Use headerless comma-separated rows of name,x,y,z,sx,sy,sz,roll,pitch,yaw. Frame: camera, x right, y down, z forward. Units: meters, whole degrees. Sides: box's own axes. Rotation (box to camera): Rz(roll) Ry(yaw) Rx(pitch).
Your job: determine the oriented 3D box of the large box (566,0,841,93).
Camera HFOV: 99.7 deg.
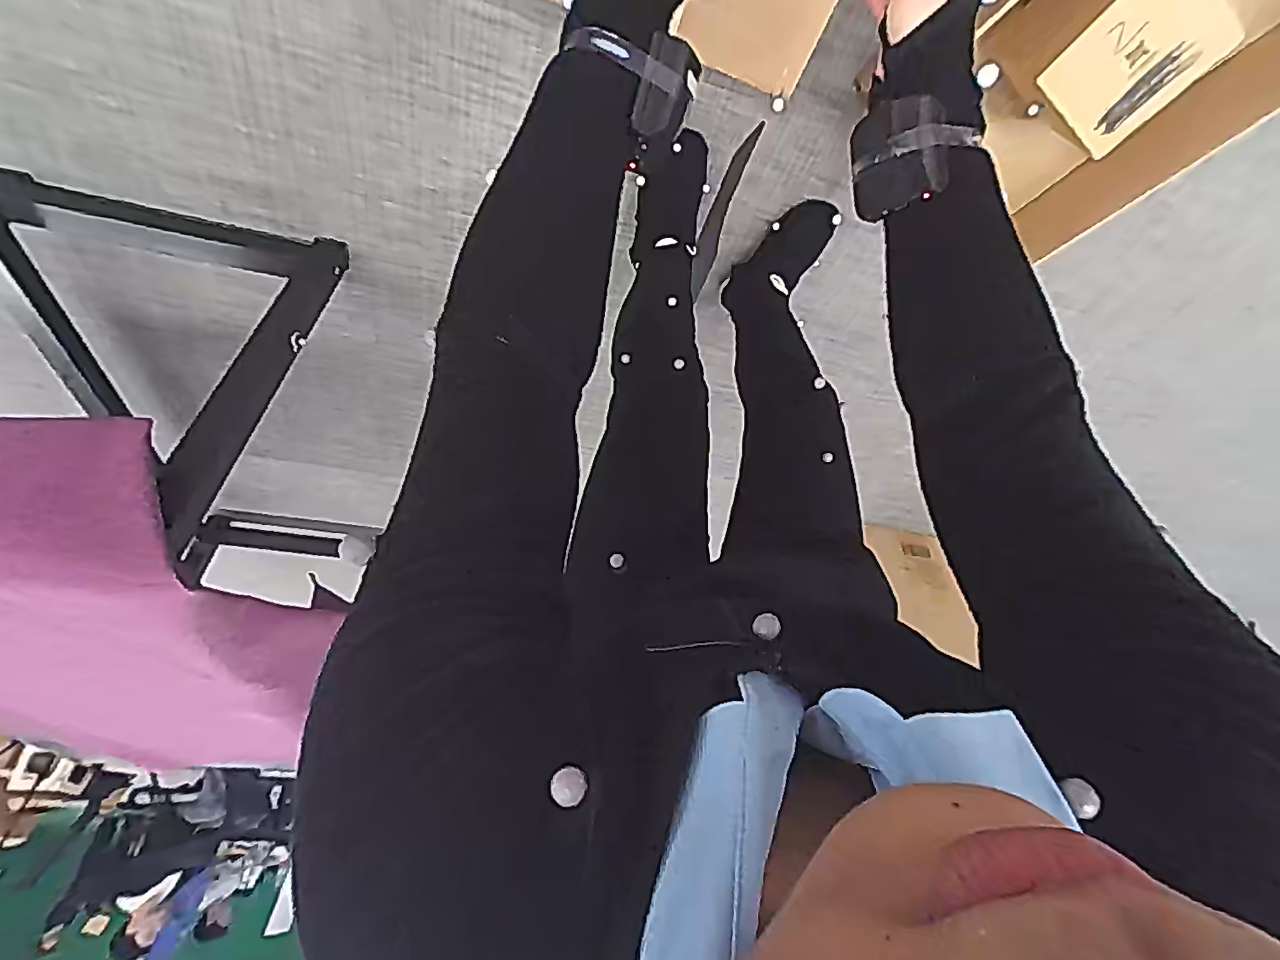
large box,0.092,-0.695,0.507,0.320,0.320,0.408,12,142,-15
